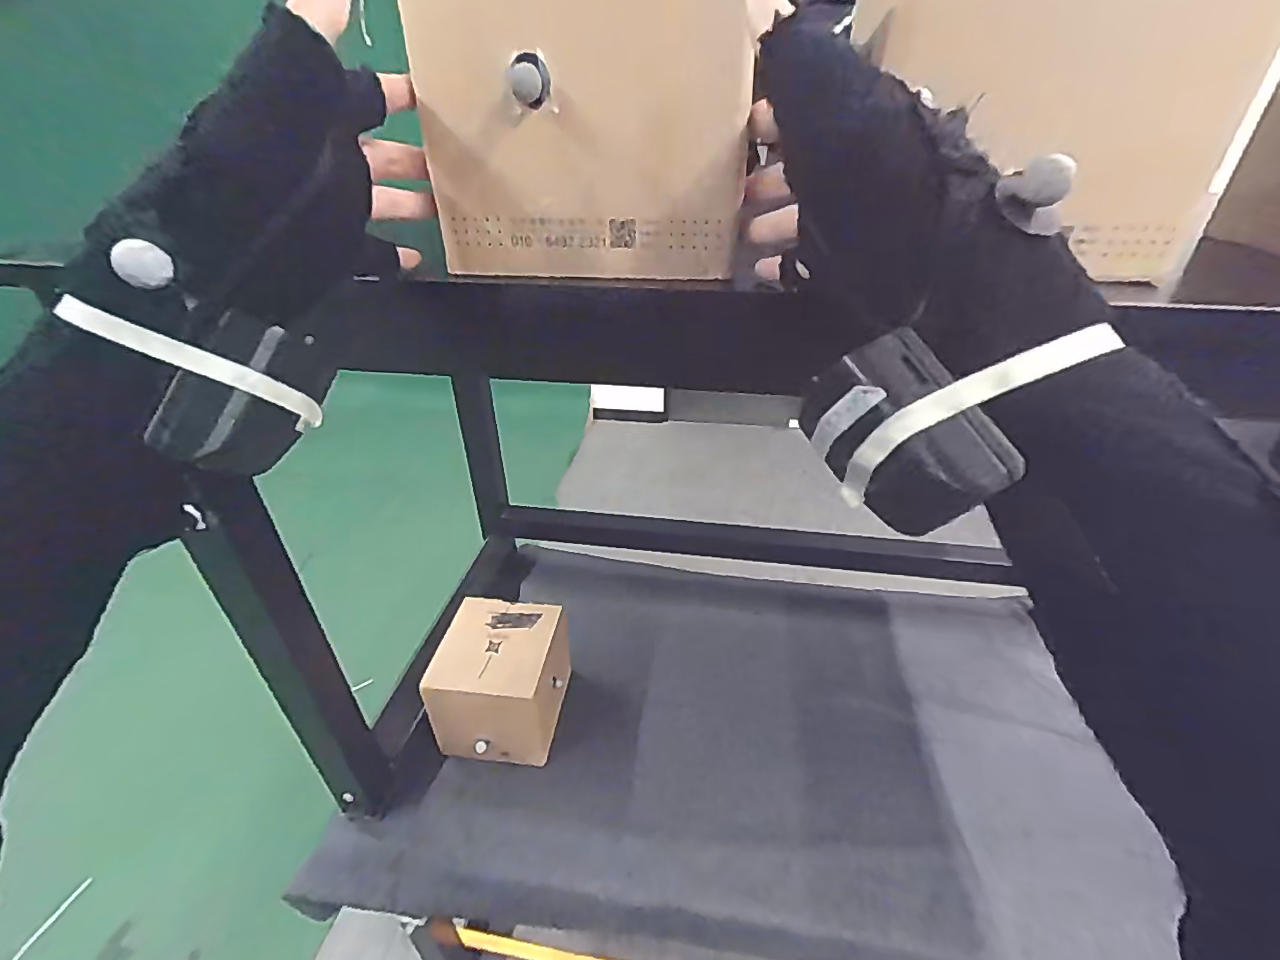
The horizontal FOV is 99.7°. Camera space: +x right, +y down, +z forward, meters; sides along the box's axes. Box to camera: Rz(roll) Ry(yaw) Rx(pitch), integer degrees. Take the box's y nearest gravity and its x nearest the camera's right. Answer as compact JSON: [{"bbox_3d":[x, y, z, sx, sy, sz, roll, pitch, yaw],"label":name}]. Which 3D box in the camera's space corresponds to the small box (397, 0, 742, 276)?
[{"bbox_3d":[-0.024,-0.229,0.337,0.168,0.176,0.179,3,31,5],"label":"small box"}]

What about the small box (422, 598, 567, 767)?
[{"bbox_3d":[-0.213,0.312,0.847,0.168,0.176,0.179,3,32,6],"label":"small box"}]
